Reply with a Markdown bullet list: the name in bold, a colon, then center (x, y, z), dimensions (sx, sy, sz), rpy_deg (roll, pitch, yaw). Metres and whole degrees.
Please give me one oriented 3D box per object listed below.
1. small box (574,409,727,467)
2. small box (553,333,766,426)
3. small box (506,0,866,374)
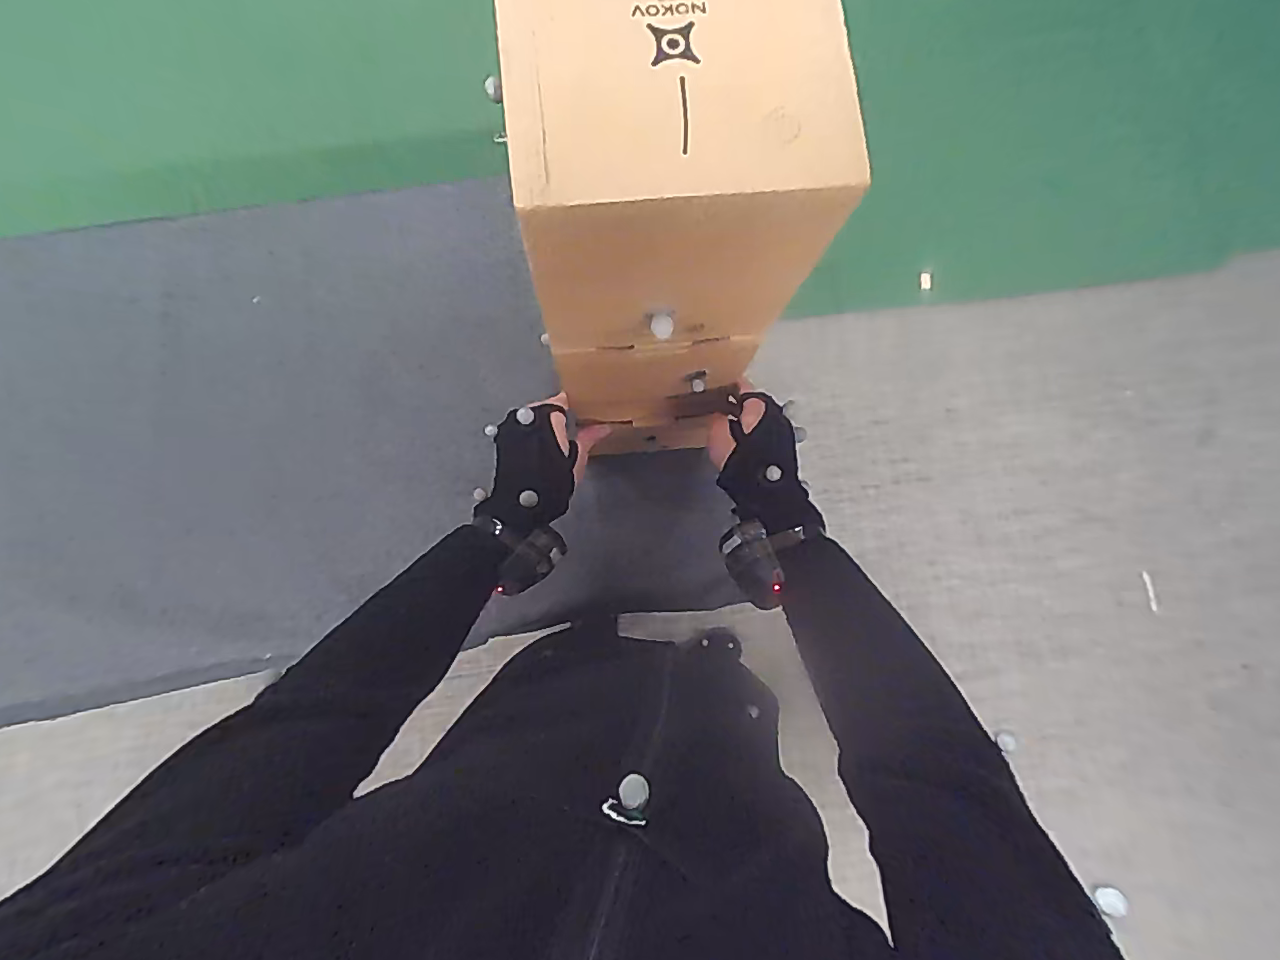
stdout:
- **small box**: center (0.004, -0.114, 0.664), dimensions (0.168, 0.176, 0.179), rpy_deg (-6, 82, -3)
- **small box**: center (0.006, -0.155, 0.506), dimensions (0.168, 0.176, 0.179), rpy_deg (-6, 80, -4)
- **small box**: center (0.014, -0.184, 0.344), dimensions (0.168, 0.176, 0.179), rpy_deg (-6, 82, -4)
